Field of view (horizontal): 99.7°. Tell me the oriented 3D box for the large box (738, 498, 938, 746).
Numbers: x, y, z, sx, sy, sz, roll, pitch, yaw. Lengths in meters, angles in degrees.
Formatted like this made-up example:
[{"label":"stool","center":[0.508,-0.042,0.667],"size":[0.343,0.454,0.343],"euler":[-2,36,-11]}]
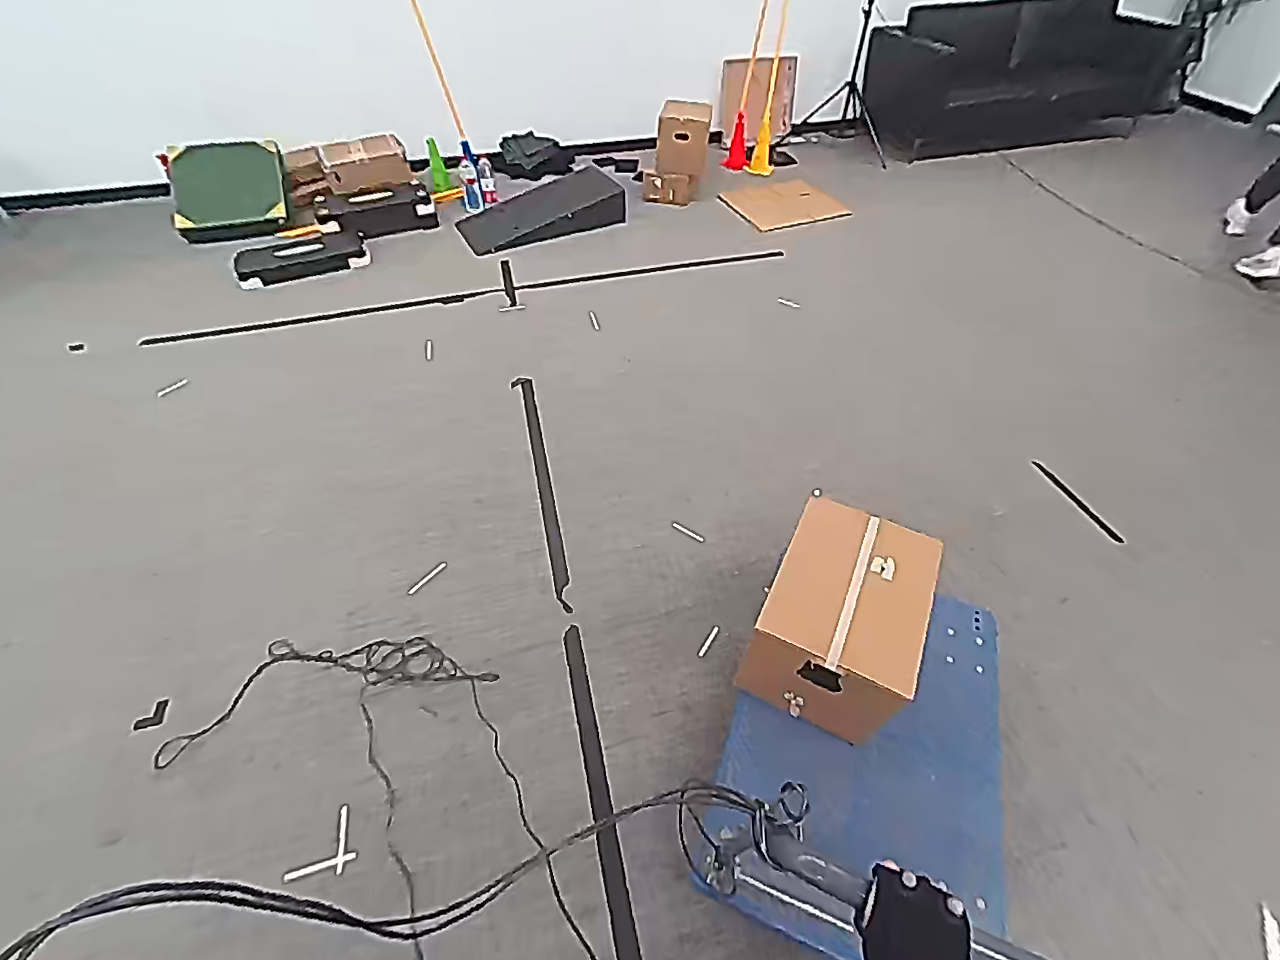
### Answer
[{"label":"large box","center":[0.455,0.325,1.270],"size":[0.320,0.320,0.408],"euler":[22,51,17]}]
